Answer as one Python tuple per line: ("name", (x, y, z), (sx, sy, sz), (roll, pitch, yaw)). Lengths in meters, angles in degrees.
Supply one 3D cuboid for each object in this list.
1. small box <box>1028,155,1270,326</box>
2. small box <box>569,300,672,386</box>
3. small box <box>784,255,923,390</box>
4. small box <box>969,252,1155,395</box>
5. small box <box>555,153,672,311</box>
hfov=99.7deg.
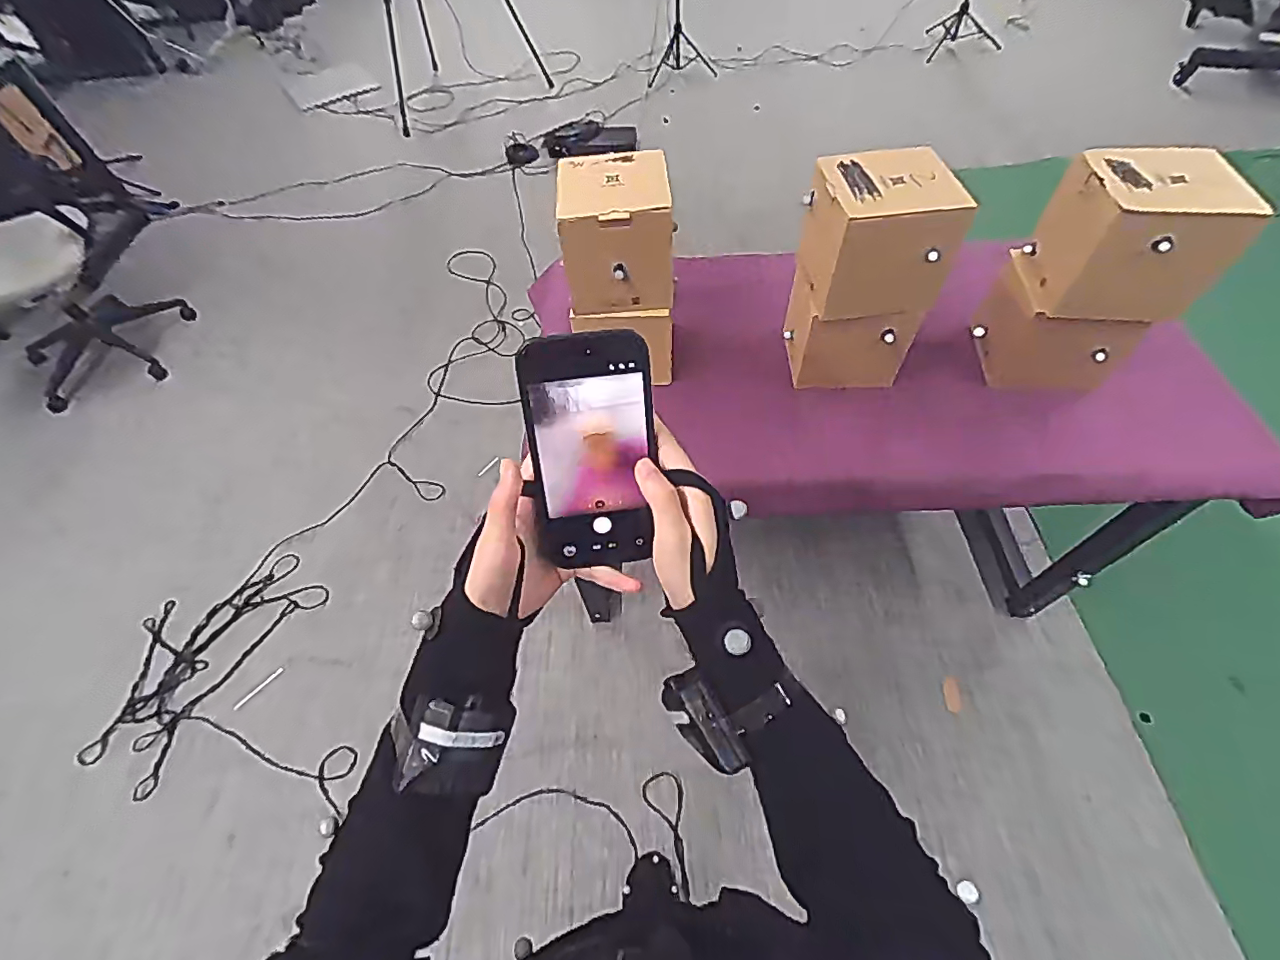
("small box", (0.700, -0.341, 0.779), (0.179, 0.176, 0.168), (5, 56, 7))
("small box", (-0.026, -0.288, 0.996), (0.168, 0.176, 0.179), (0, 56, 5))
("small box", (0.363, -0.273, 0.955), (0.179, 0.176, 0.168), (0, 56, 4))
("small box", (0.702, -0.262, 0.923), (0.179, 0.176, 0.168), (5, 56, 8))
("small box", (-0.036, -0.387, 0.865), (0.168, 0.176, 0.179), (-4, 56, 1))
